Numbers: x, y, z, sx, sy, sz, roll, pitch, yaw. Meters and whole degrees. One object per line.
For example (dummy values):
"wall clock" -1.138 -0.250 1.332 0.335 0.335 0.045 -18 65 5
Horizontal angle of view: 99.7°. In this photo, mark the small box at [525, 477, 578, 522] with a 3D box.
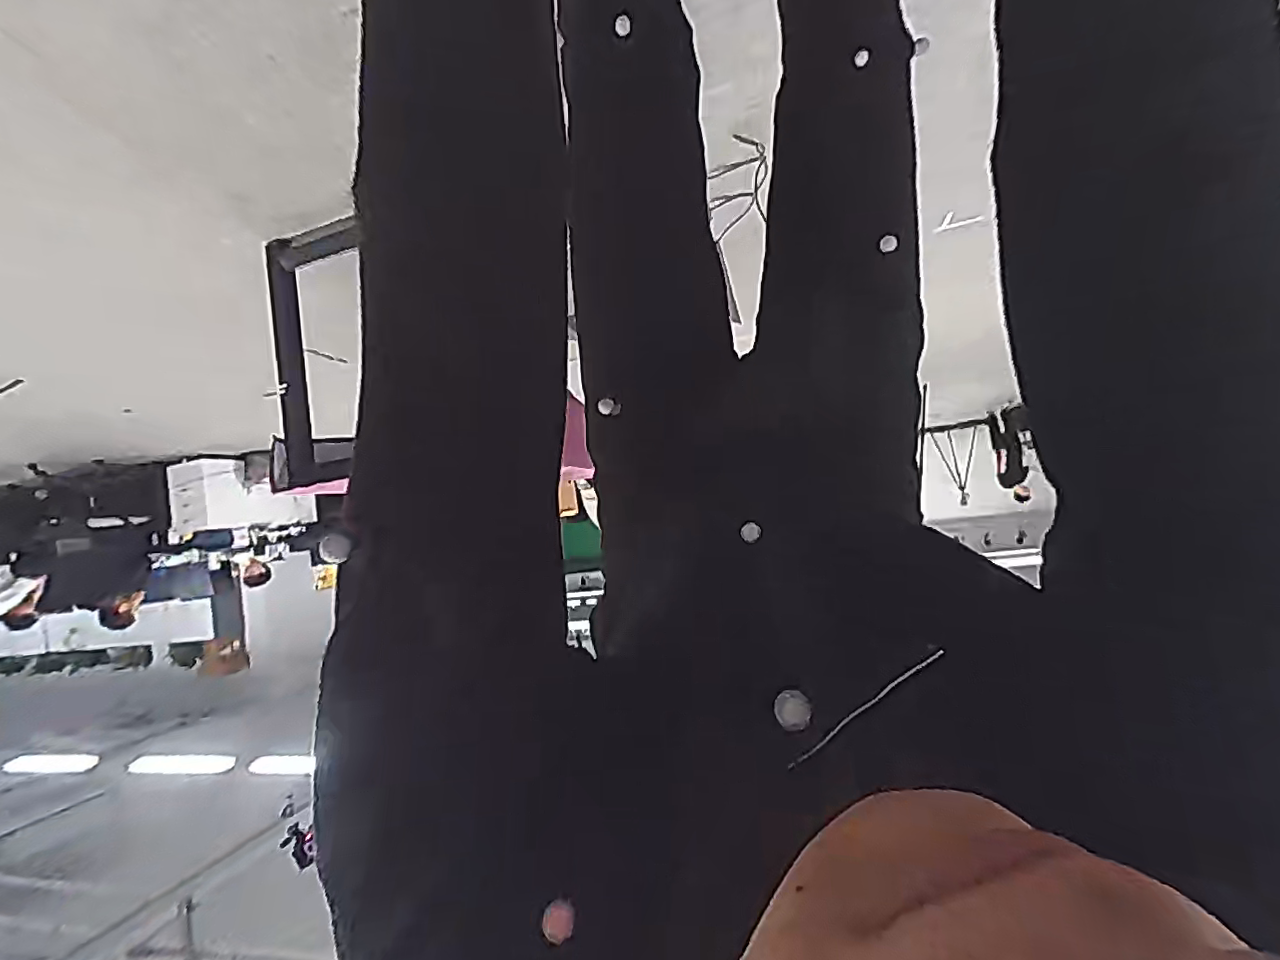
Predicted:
"small box" -0.390 0.079 2.313 0.179 0.176 0.168 -9 176 28
